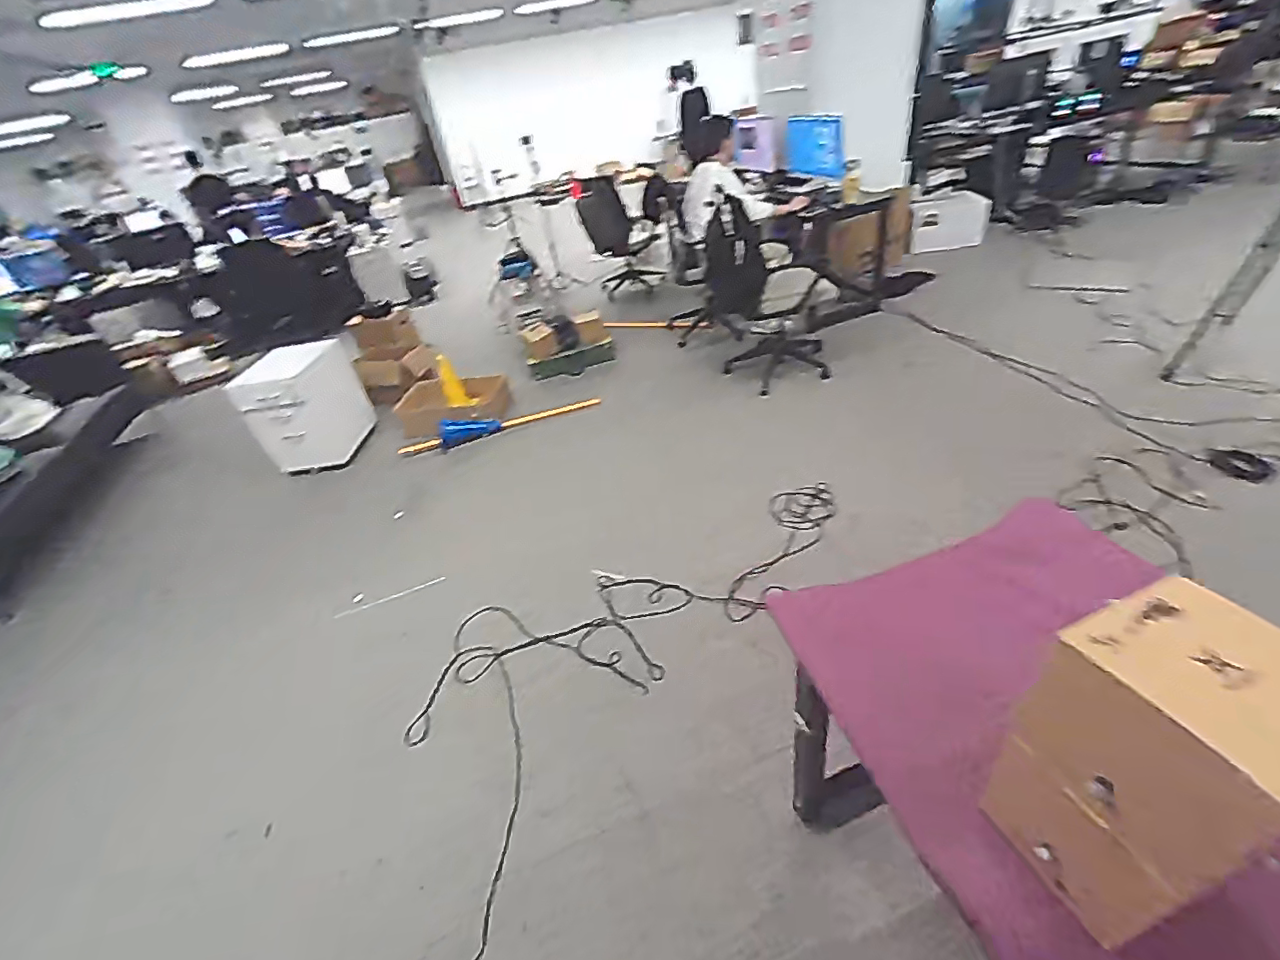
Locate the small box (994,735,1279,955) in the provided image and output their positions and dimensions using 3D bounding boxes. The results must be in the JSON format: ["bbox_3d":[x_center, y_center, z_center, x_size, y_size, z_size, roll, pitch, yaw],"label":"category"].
[{"bbox_3d":[0.529,0.360,0.586,0.179,0.176,0.168,-18,35,-12],"label":"small box"}]

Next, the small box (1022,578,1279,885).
[{"bbox_3d":[0.504,0.228,0.493,0.168,0.176,0.179,-18,36,-13],"label":"small box"}]
